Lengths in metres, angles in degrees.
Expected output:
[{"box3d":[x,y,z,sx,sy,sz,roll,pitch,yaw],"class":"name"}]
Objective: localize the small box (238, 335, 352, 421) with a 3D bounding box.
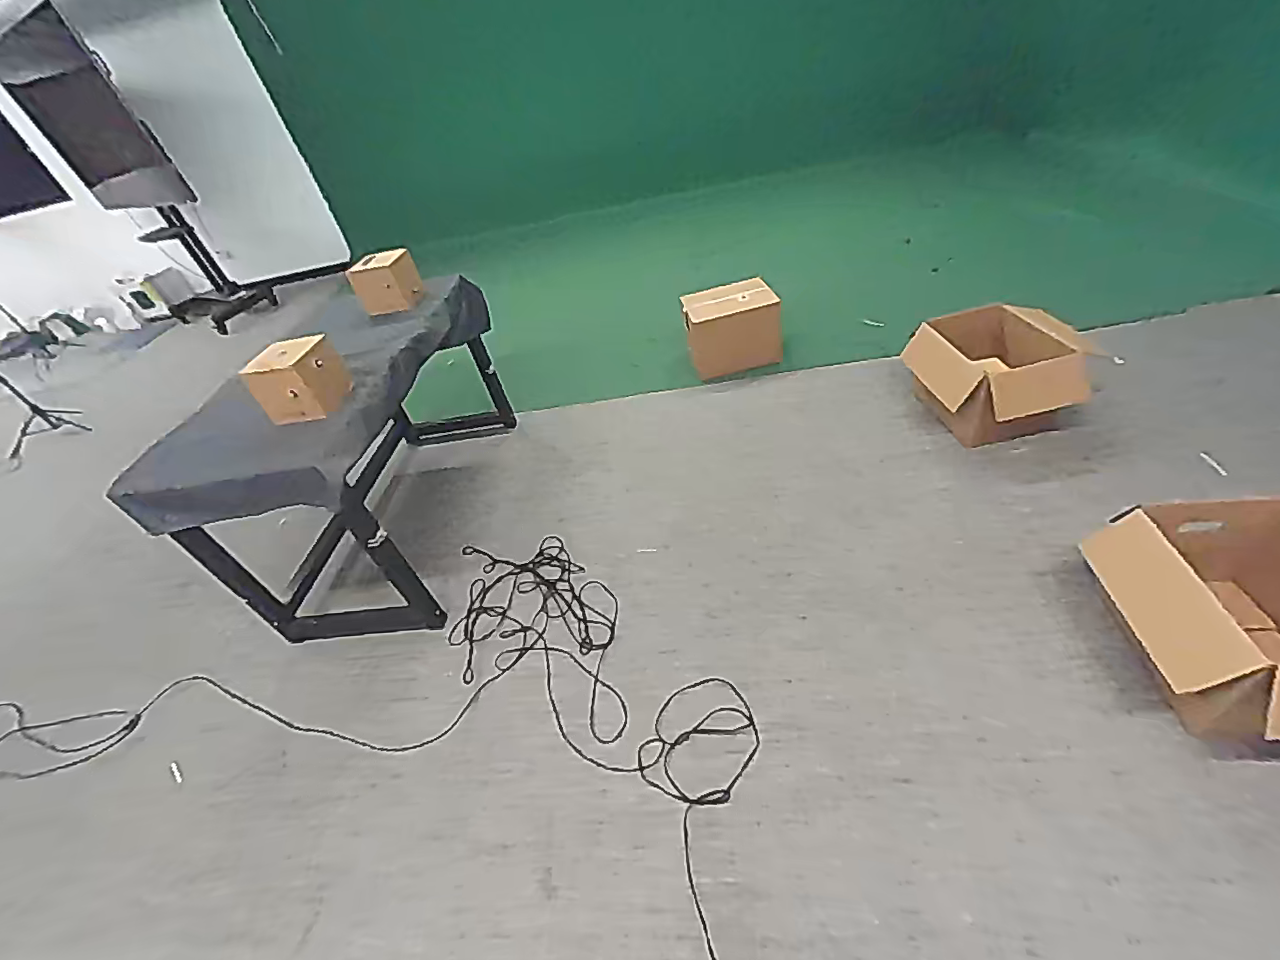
[{"box3d":[-0.934,-0.274,1.486,0.168,0.176,0.179,-5,39,10],"class":"small box"}]
